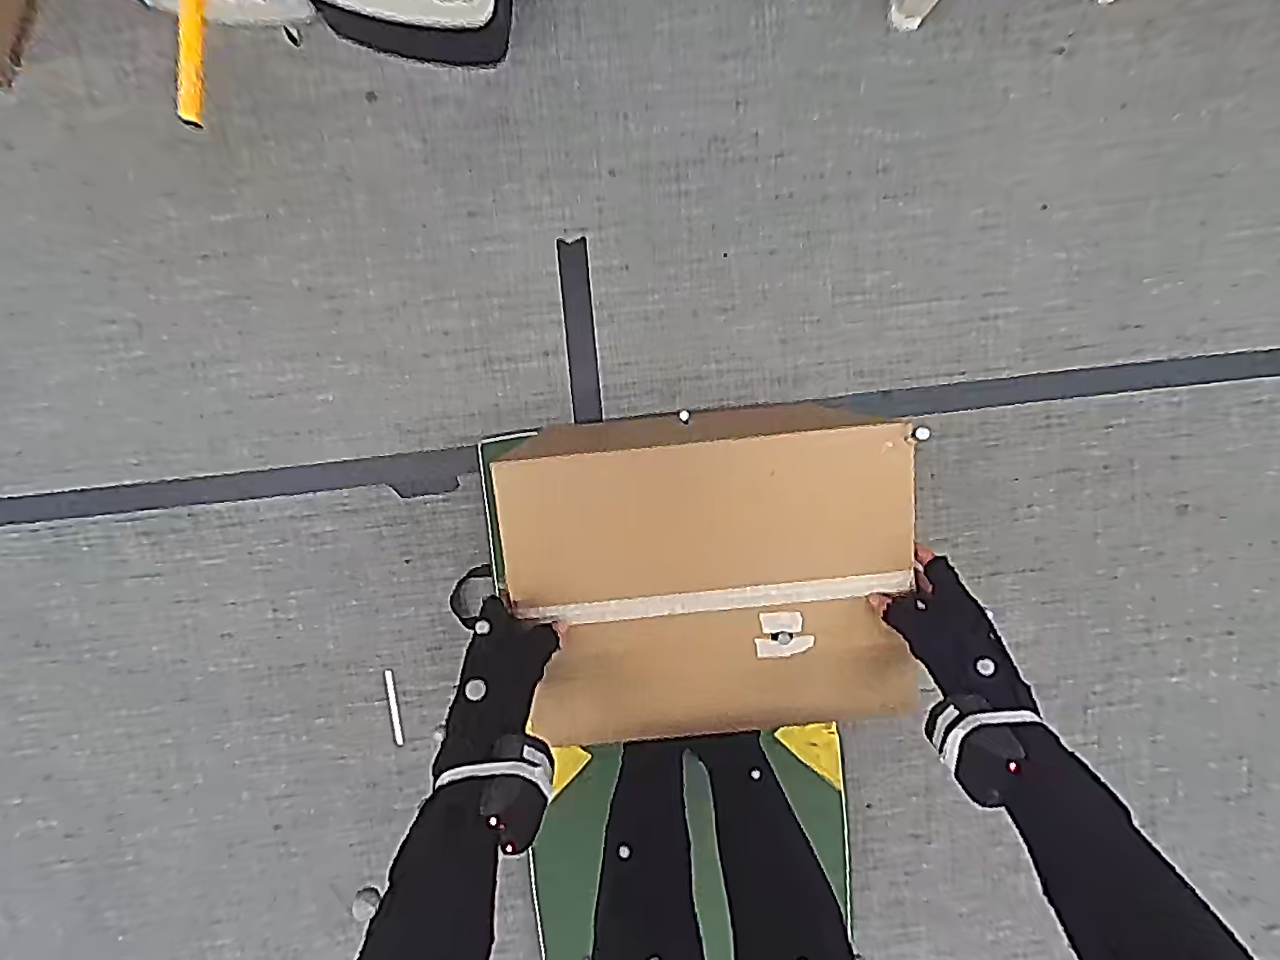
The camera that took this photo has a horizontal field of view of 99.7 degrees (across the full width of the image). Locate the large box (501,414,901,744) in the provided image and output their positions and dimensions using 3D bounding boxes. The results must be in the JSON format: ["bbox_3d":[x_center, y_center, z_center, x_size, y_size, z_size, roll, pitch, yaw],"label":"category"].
[{"bbox_3d":[0.069,0.093,0.713,0.408,0.320,0.320,-6,101,0],"label":"large box"}]
